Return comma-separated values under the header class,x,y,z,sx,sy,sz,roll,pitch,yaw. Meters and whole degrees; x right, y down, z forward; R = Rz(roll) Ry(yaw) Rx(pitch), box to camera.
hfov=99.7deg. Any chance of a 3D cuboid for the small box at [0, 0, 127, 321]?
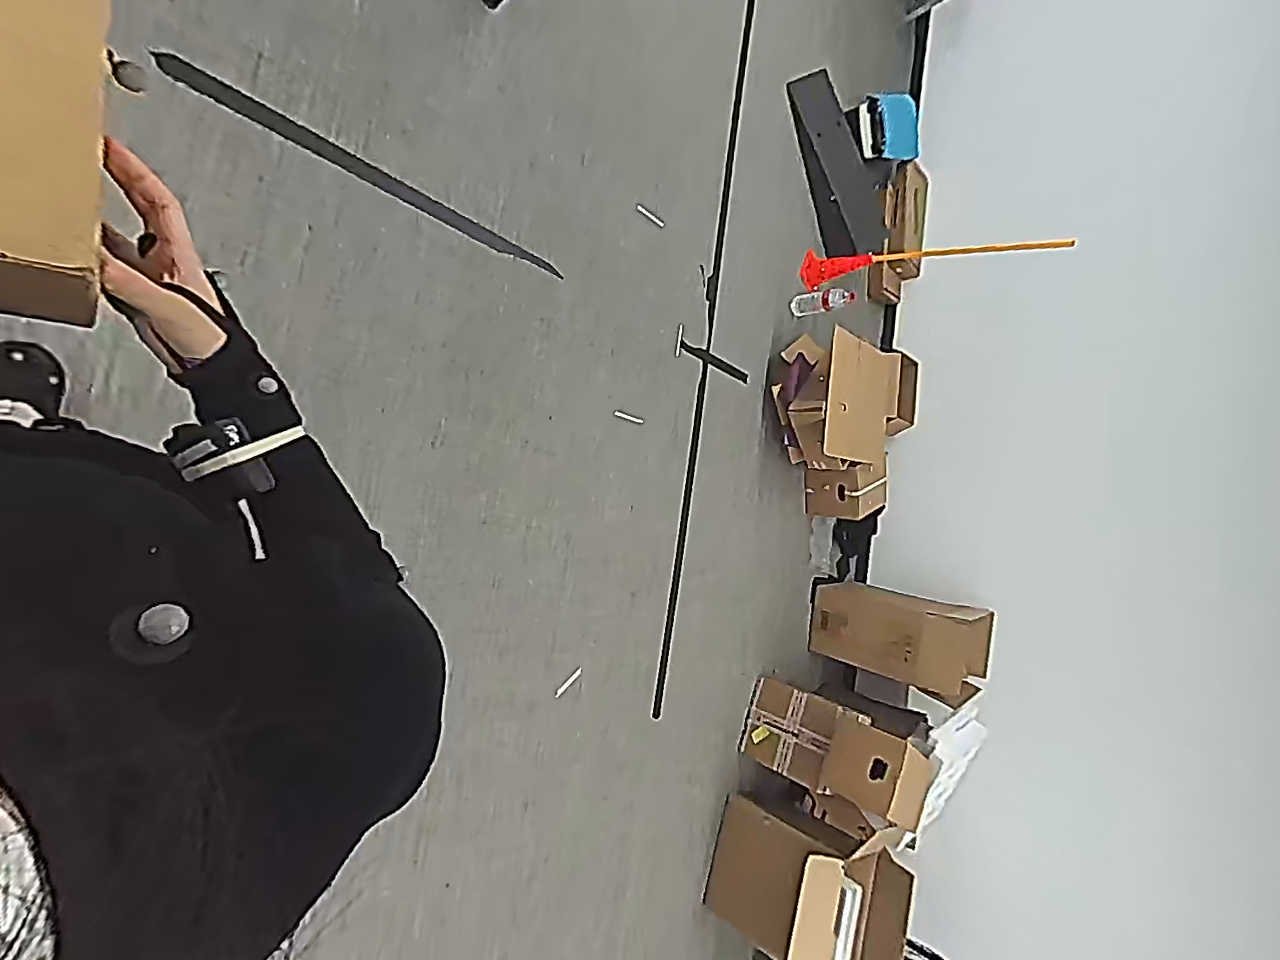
class,x,y,z,sx,sy,sz,roll,pitch,yaw
small box,-0.391,-0.200,0.283,0.168,0.176,0.179,2,91,-46
